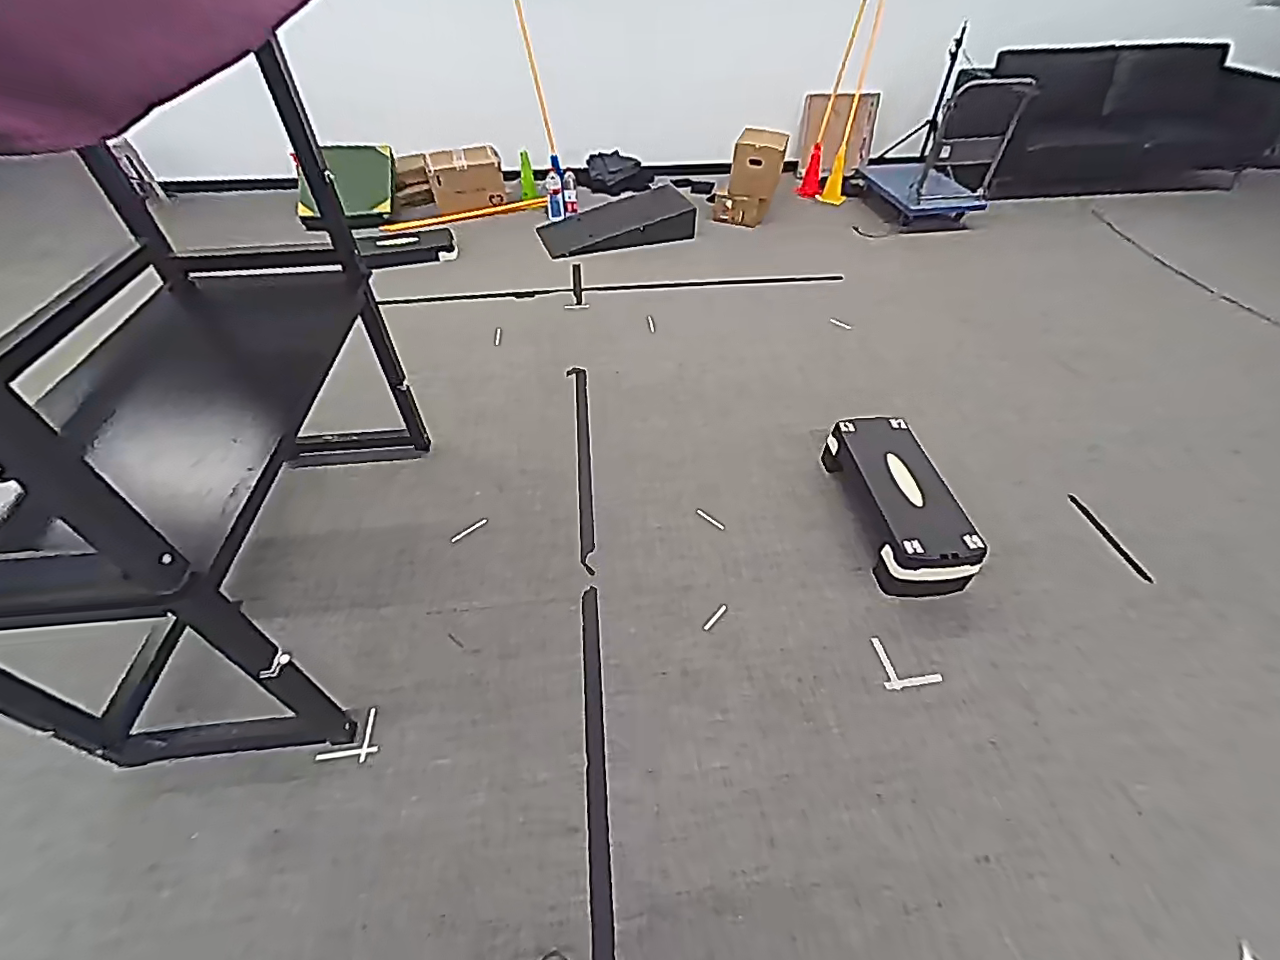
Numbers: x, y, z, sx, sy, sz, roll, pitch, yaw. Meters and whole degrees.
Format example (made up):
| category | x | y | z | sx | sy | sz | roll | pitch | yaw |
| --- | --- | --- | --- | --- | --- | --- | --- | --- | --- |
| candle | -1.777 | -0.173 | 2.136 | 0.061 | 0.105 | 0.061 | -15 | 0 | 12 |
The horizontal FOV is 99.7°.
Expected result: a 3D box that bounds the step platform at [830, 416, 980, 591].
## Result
| category | x | y | z | sx | sy | sz | roll | pitch | yaw |
| --- | --- | --- | --- | --- | --- | --- | --- | --- | --- |
| step platform | 0.903 | 0.048 | 1.909 | 0.286 | 0.204 | 0.684 | 0 | 45 | 0 |
